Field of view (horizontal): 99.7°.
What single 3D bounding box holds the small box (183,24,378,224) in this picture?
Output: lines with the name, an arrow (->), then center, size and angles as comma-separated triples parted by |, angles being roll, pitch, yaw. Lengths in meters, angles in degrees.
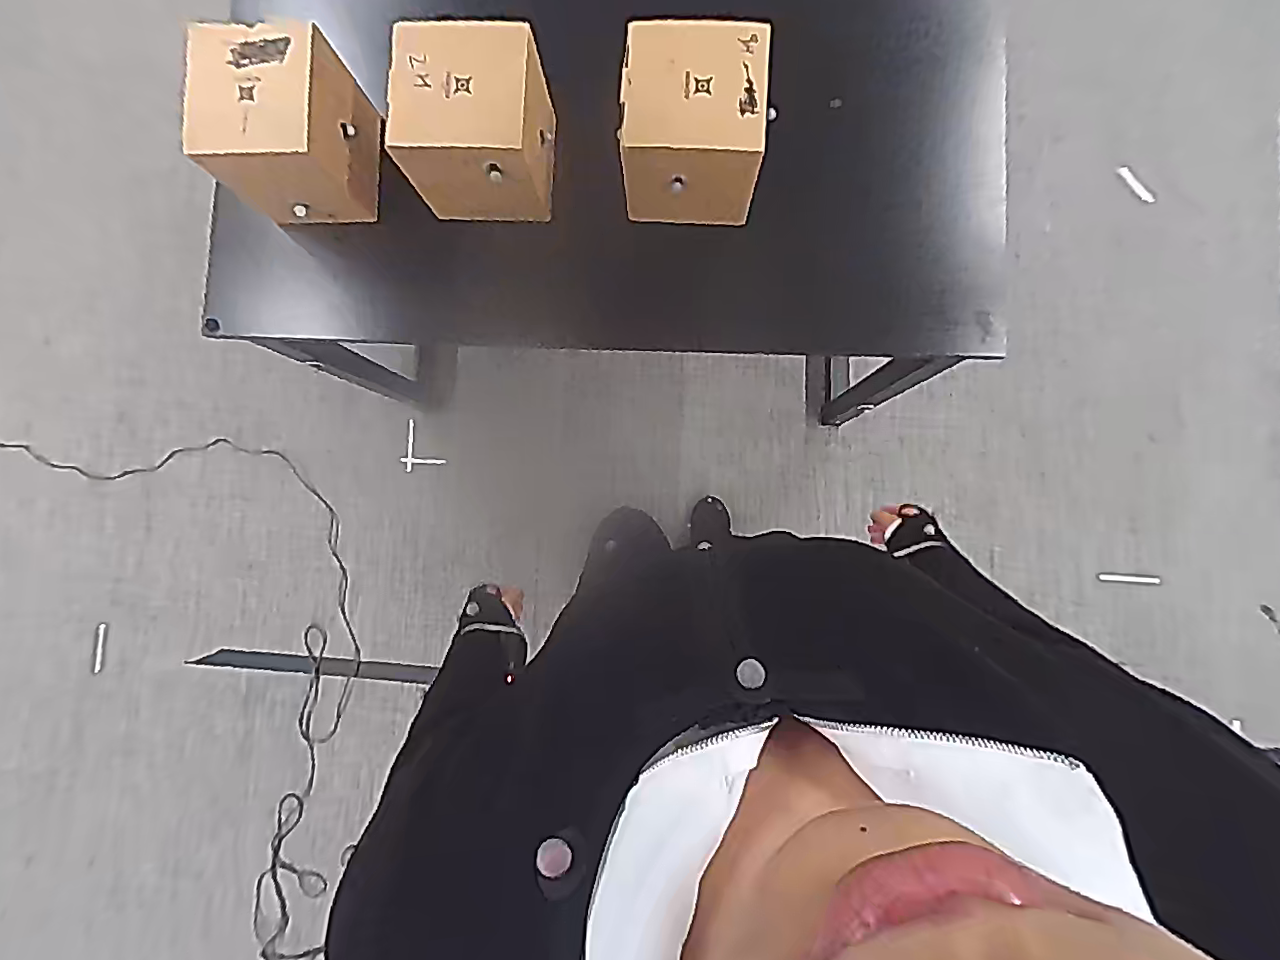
small box -> -0.493, -0.491, 0.766 | 0.168, 0.176, 0.179 | 0, 88, 3

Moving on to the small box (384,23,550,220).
small box -> -0.227, -0.484, 0.753 | 0.179, 0.176, 0.168 | 1, 86, 3

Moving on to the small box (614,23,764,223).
small box -> 0.066, -0.474, 0.740 | 0.179, 0.176, 0.168 | 4, 87, 4
